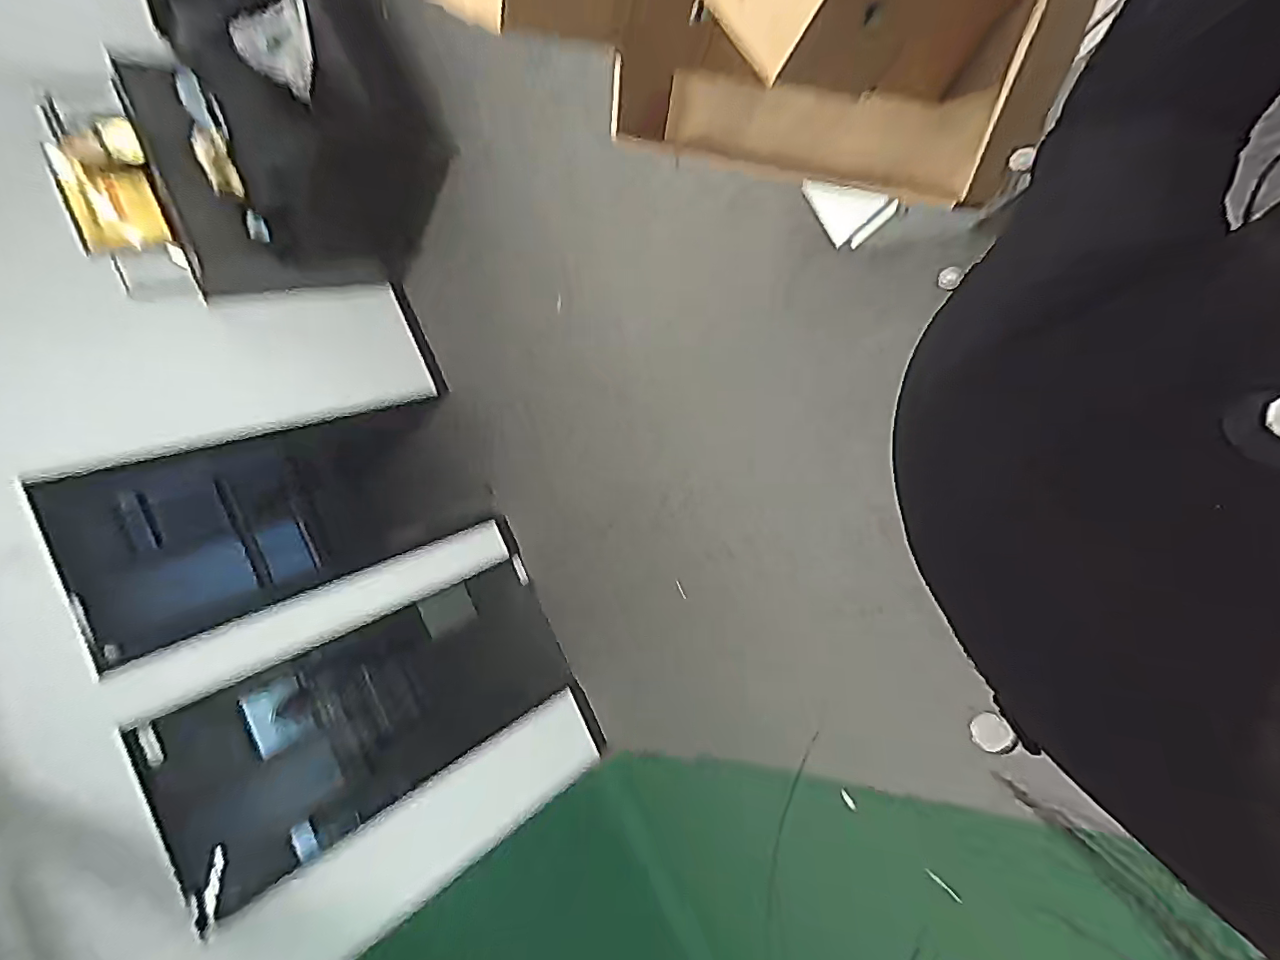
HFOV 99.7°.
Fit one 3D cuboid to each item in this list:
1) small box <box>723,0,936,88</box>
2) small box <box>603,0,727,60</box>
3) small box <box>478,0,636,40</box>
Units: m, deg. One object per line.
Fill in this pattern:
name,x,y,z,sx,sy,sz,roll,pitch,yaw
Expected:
small box,0.196,-0.527,0.525,0.168,0.176,0.179,61,144,10
small box,0.007,-0.664,0.684,0.179,0.176,0.168,47,140,21
small box,-0.101,-0.606,0.572,0.168,0.176,0.179,46,139,25
